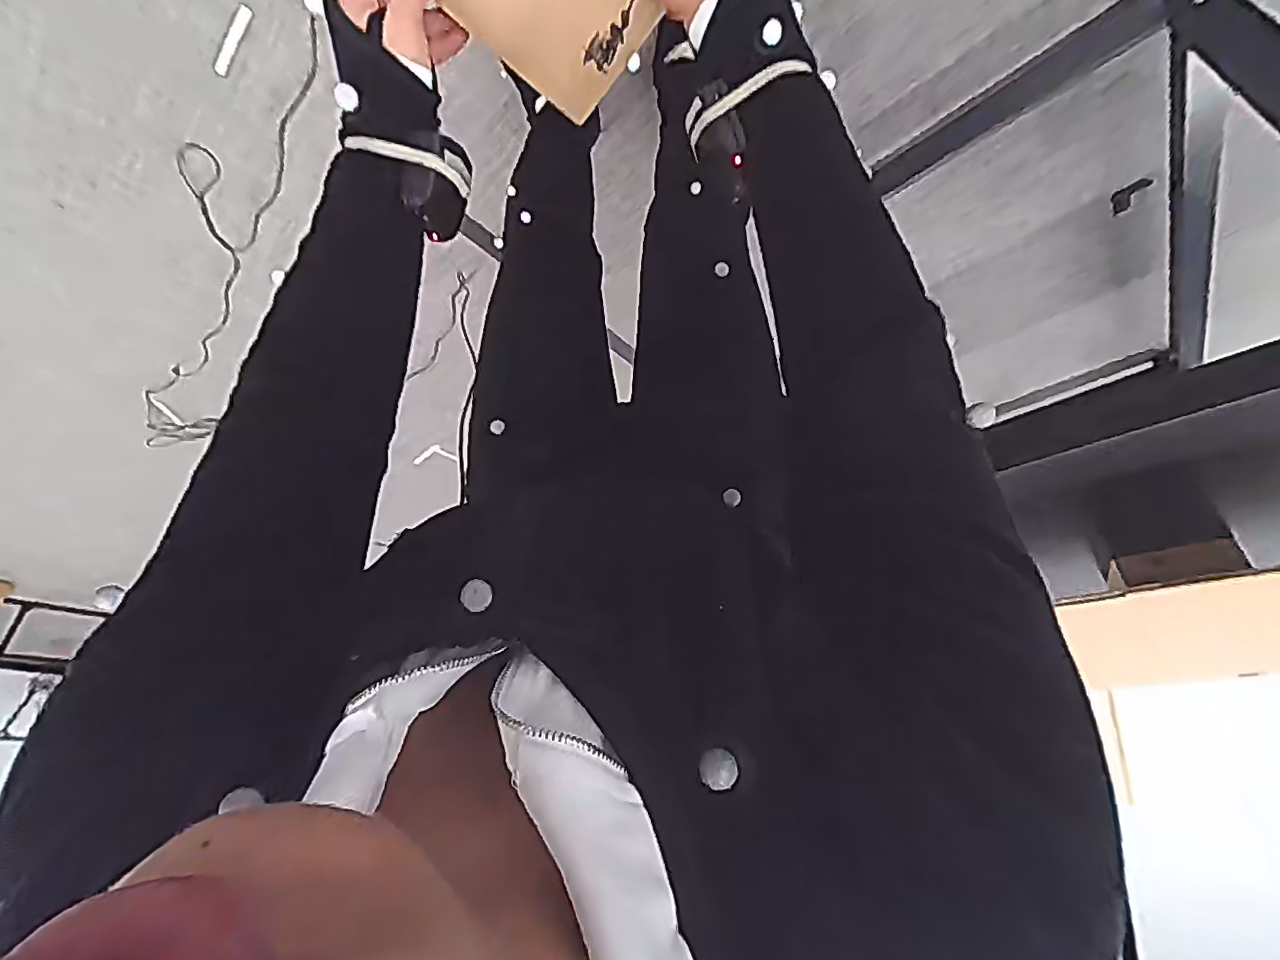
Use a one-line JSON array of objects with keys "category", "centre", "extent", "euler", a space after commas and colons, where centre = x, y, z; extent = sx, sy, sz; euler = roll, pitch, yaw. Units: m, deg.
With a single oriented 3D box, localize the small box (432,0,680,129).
[{"category": "small box", "centre": [-0.065, -0.442, 0.428], "extent": [0.179, 0.176, 0.168], "euler": [24, 140, -36]}]
